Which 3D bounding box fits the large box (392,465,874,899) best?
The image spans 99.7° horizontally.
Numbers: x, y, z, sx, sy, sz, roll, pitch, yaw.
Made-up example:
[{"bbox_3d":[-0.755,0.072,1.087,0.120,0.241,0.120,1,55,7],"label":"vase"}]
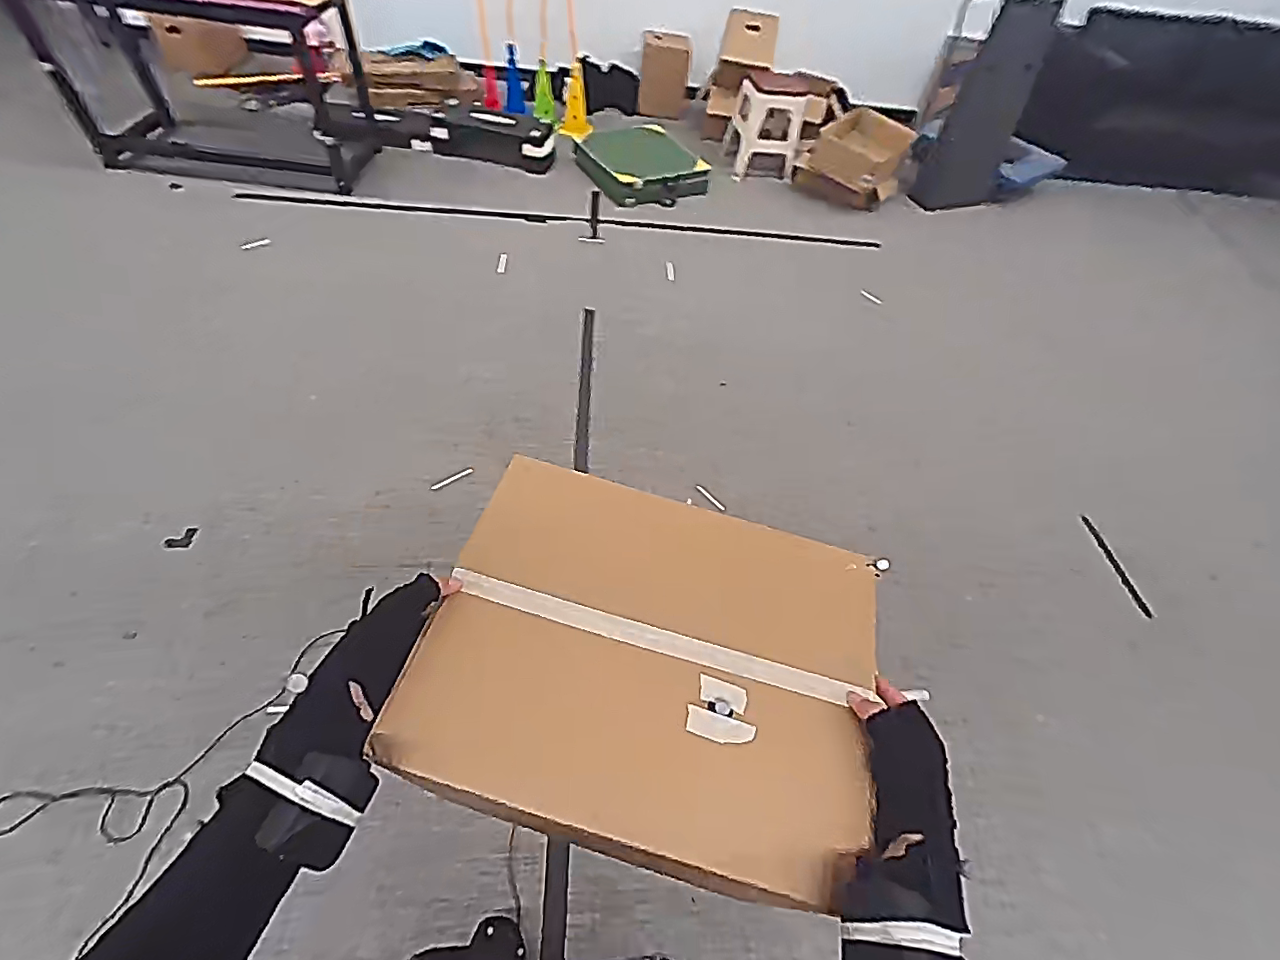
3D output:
[{"bbox_3d":[0.004,0.237,0.631,0.408,0.320,0.320,17,55,3],"label":"large box"}]
